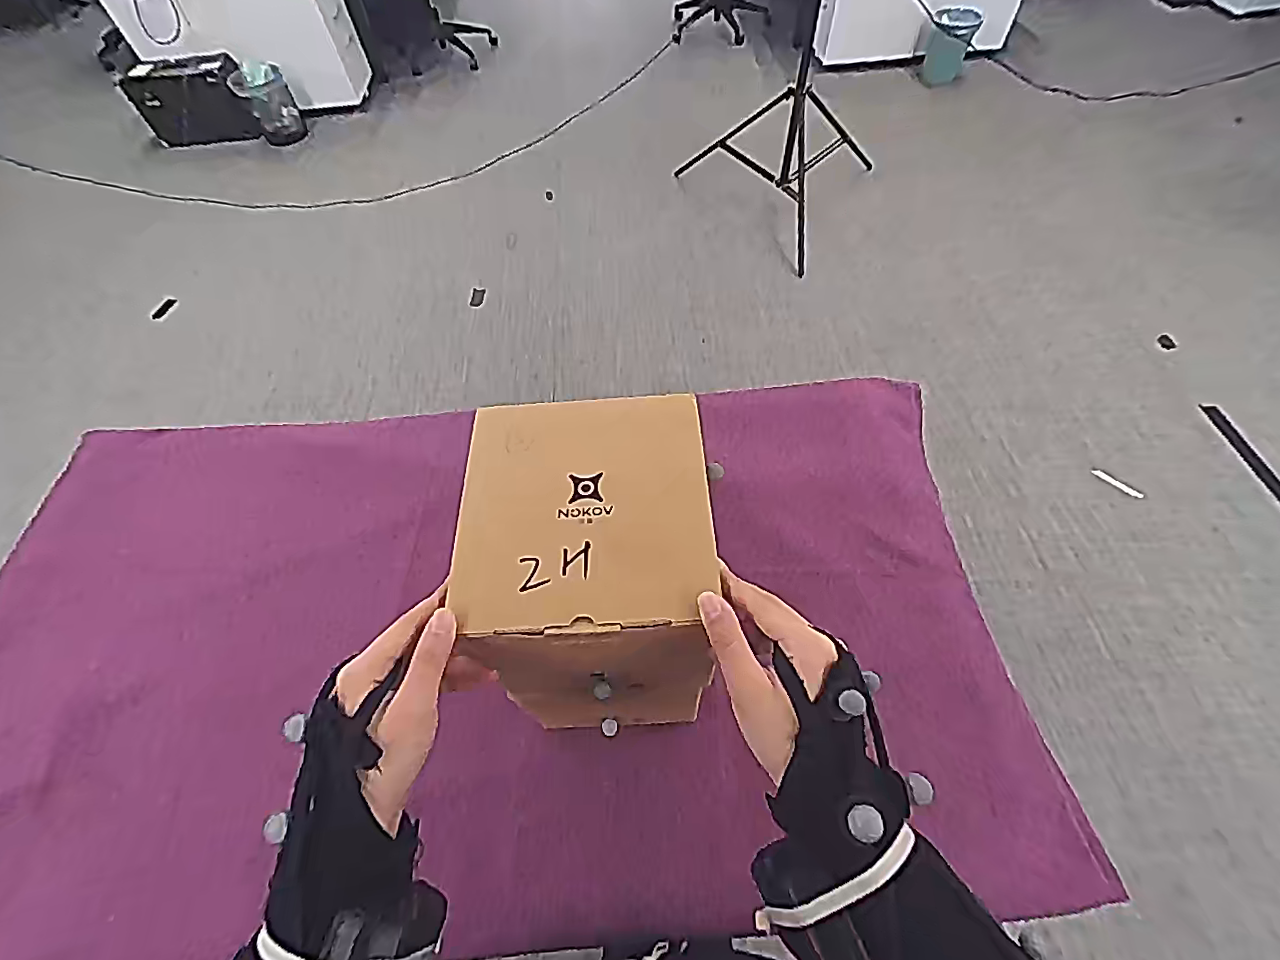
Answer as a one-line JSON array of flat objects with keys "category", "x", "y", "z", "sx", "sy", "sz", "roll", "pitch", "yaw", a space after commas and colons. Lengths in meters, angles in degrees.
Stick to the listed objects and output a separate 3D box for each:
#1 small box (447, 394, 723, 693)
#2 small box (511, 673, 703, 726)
[{"category": "small box", "x": -0.031, "y": 0.055, "z": 0.427, "sx": 0.168, "sy": 0.176, "sz": 0.179, "roll": -3, "pitch": 56, "yaw": 2}, {"category": "small box", "x": -0.027, "y": 0.147, "z": 0.566, "sx": 0.168, "sy": 0.176, "sz": 0.179, "roll": -3, "pitch": 57, "yaw": 1}]
